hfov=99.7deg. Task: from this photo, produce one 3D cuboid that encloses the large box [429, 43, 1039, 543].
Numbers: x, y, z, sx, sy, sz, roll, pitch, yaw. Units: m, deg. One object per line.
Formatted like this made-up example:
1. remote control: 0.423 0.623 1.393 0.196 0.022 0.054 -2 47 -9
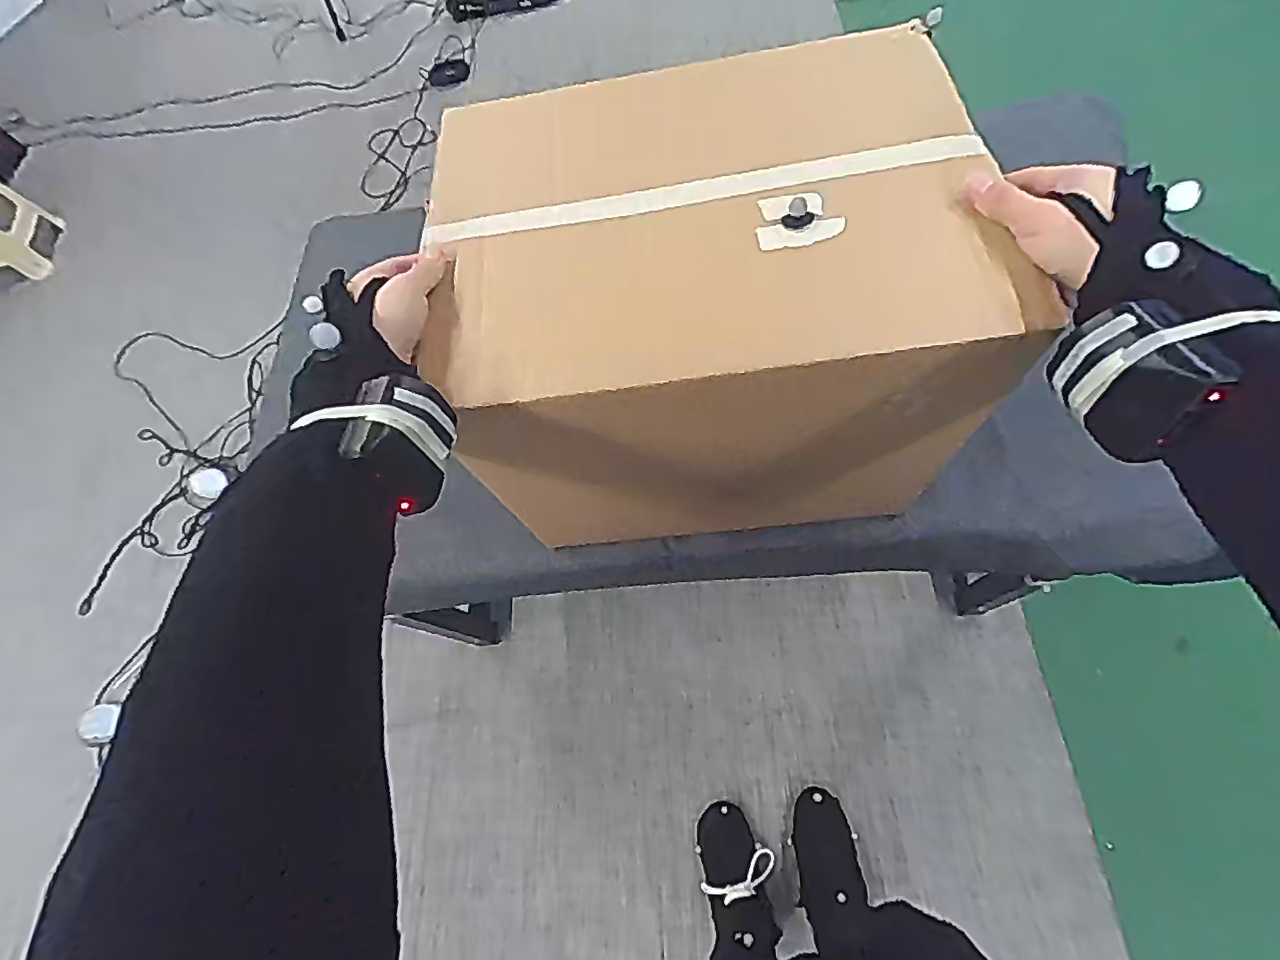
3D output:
1. large box: 0.057 -0.147 0.544 0.408 0.320 0.320 -7 66 5
